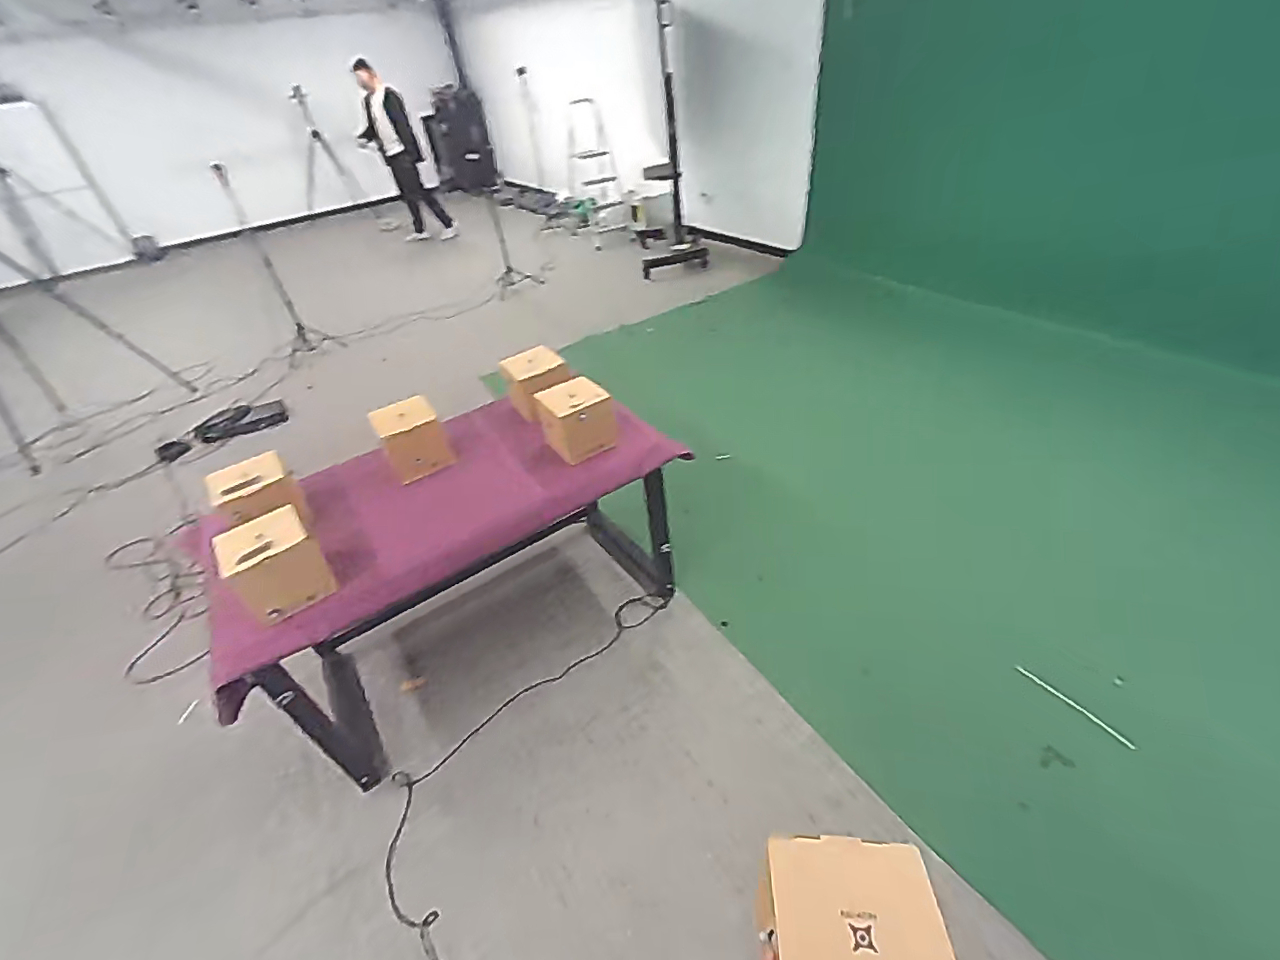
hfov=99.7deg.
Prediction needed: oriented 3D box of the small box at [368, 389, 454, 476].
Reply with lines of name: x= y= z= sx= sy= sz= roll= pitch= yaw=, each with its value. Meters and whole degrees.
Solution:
small box: x=-0.677 y=-0.140 z=1.603 sx=0.168 sy=0.176 sz=0.179 roll=-27 pitch=44 yaw=-23

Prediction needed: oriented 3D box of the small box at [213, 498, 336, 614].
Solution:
small box: x=-0.826 y=0.179 z=1.232 sx=0.168 sy=0.176 sz=0.179 roll=-30 pitch=43 yaw=-26

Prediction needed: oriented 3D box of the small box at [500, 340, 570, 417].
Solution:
small box: x=-0.337 y=-0.335 z=1.780 sx=0.168 sy=0.176 sz=0.179 roll=-28 pitch=44 yaw=-20

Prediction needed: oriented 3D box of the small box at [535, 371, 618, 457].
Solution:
small box: x=-0.184 y=-0.193 z=1.586 sx=0.168 sy=0.176 sz=0.179 roll=-27 pitch=41 yaw=-21
